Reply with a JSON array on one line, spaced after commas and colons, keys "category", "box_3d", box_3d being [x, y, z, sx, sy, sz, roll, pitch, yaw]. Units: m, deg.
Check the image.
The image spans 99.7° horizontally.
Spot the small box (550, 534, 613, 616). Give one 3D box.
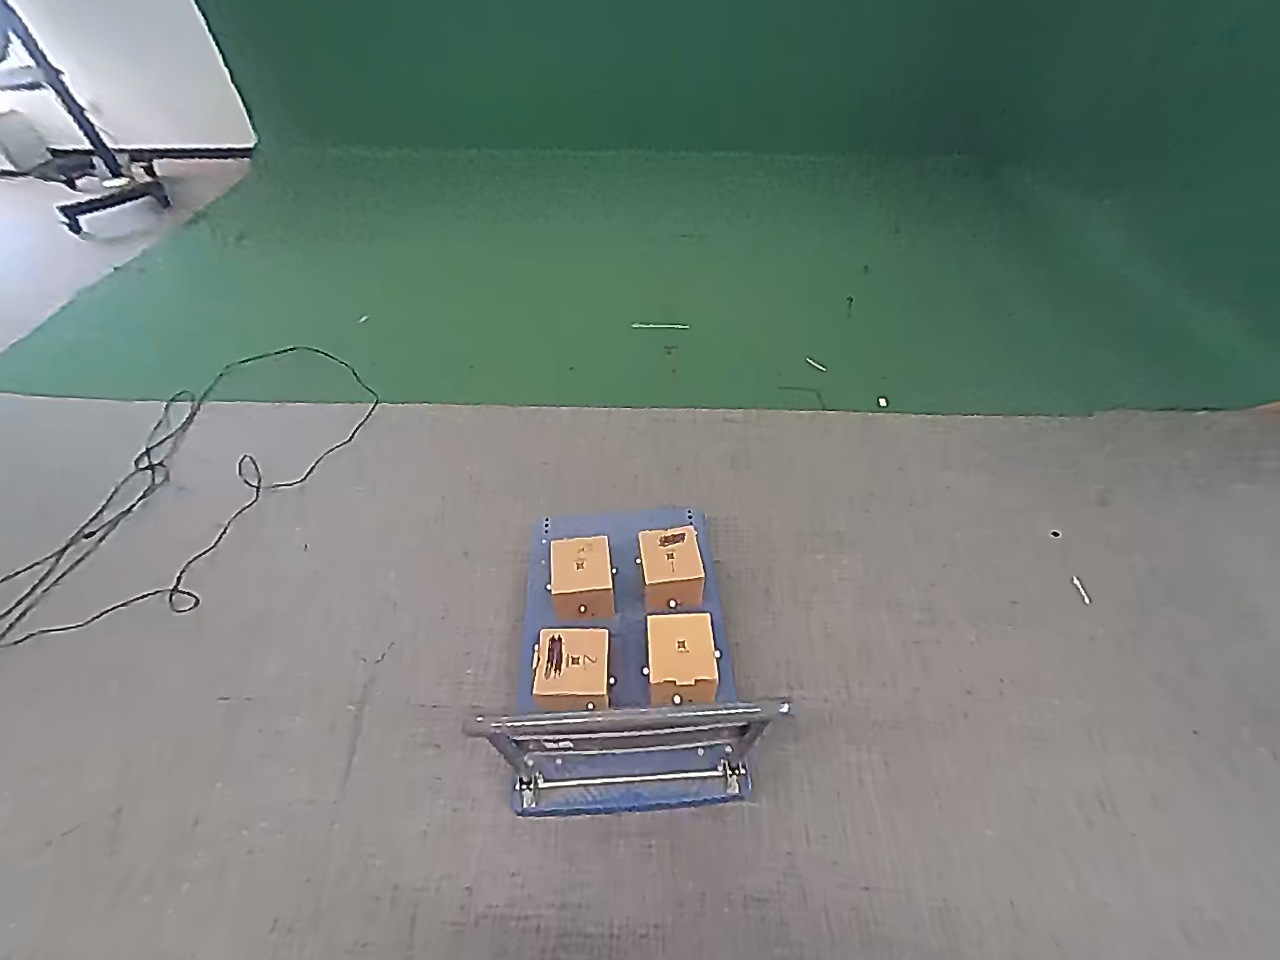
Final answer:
[{"category": "small box", "box_3d": [-0.167, 0.280, 1.558, 0.168, 0.176, 0.179, -4, 50, -5]}]

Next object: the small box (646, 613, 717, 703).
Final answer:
[{"category": "small box", "box_3d": [0.100, 0.463, 1.404, 0.168, 0.176, 0.179, -2, 50, -2]}]

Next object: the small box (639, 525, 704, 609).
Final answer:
[{"category": "small box", "box_3d": [0.085, 0.255, 1.577, 0.168, 0.176, 0.179, -6, 51, -4]}]
